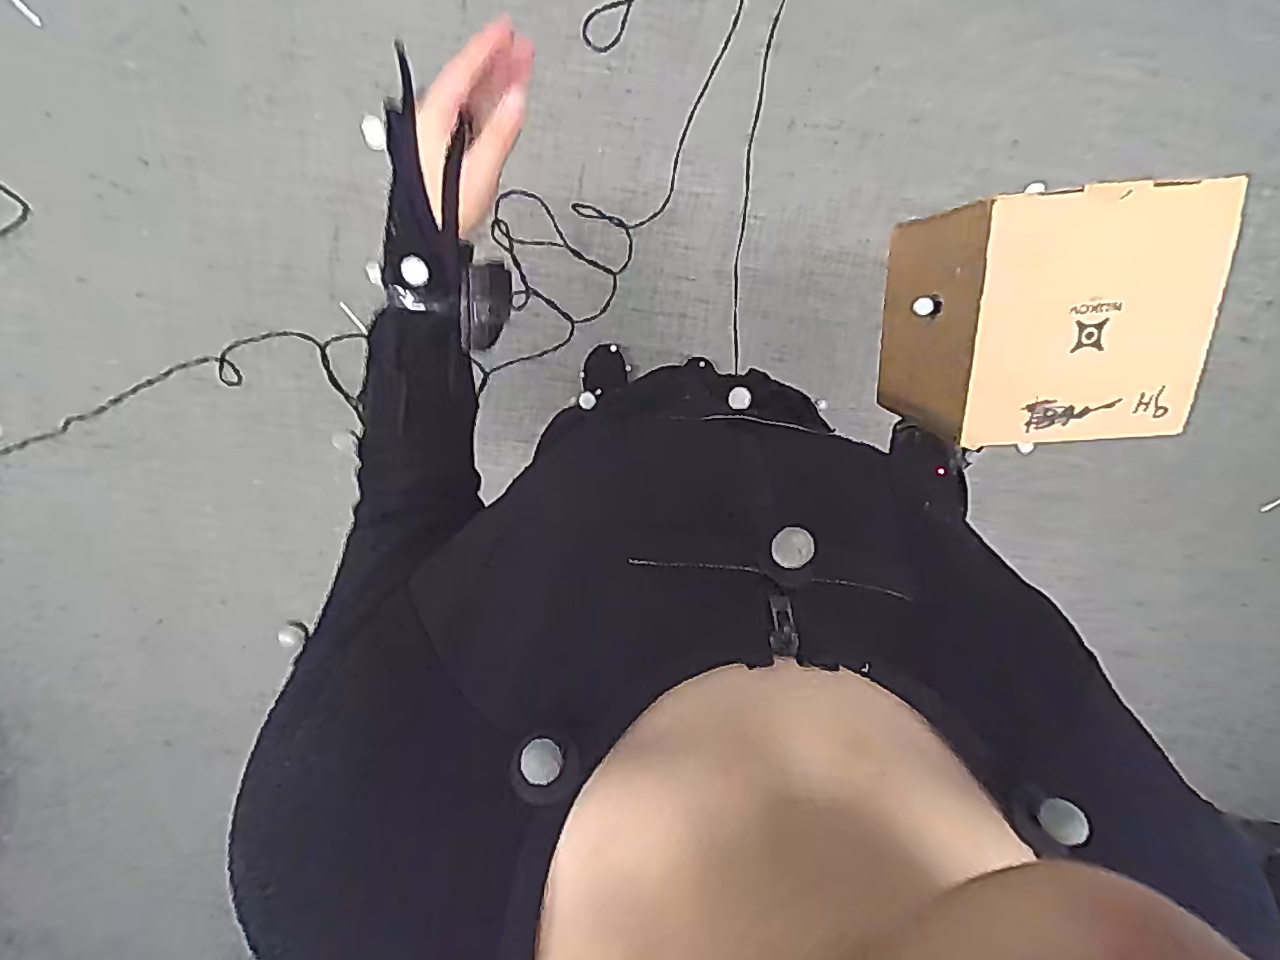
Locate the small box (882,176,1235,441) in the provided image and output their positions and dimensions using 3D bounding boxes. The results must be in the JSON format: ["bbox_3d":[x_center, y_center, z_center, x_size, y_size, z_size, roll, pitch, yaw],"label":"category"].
[{"bbox_3d":[0.326,-0.141,0.467,0.168,0.176,0.179,-4,109,3],"label":"small box"}]
